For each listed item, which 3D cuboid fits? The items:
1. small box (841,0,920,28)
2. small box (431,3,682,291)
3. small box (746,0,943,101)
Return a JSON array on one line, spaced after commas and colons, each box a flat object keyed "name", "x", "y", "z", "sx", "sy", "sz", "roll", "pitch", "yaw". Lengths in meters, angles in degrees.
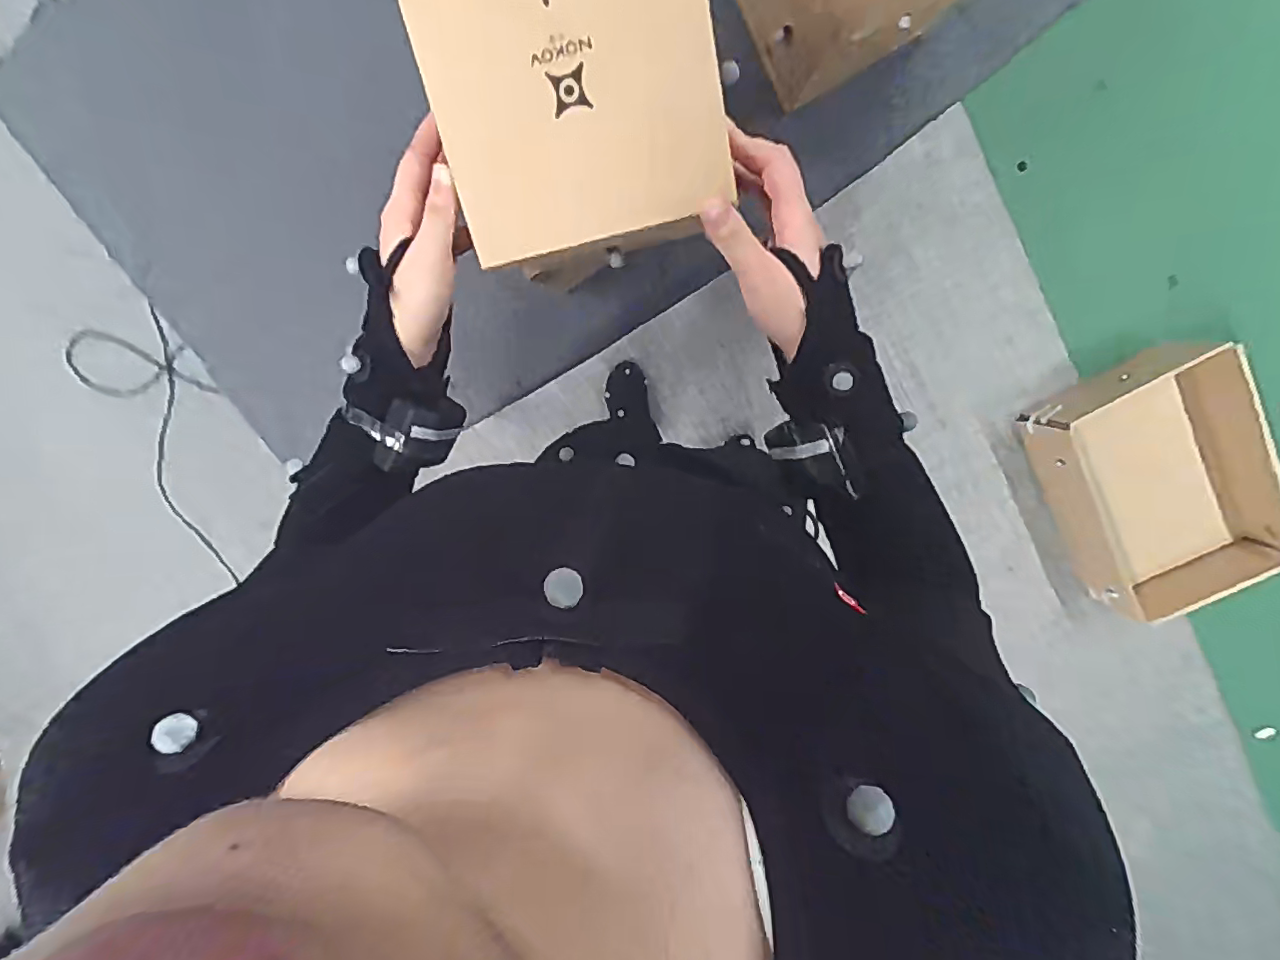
[{"name": "small box", "x": 0.218, "y": -0.460, "z": 0.354, "sx": 0.179, "sy": 0.176, "sz": 0.168, "roll": -25, "pitch": 103, "yaw": 8}, {"name": "small box", "x": -0.073, "y": -0.319, "z": 0.566, "sx": 0.179, "sy": 0.176, "sz": 0.168, "roll": -30, "pitch": 101, "yaw": 10}, {"name": "small box", "x": 0.203, "y": -0.510, "z": 0.511, "sx": 0.179, "sy": 0.176, "sz": 0.168, "roll": -28, "pitch": 103, "yaw": 7}]
